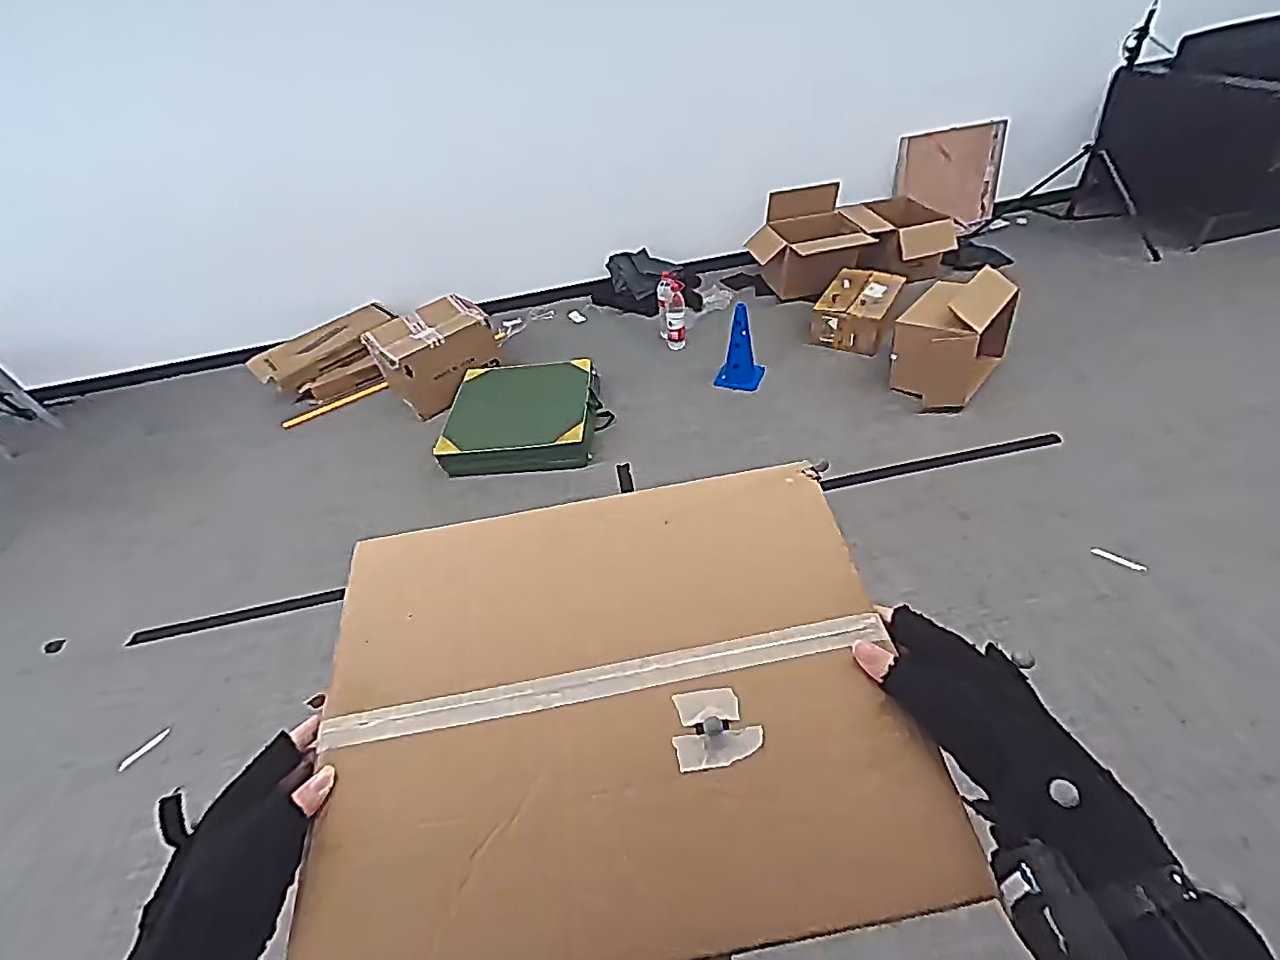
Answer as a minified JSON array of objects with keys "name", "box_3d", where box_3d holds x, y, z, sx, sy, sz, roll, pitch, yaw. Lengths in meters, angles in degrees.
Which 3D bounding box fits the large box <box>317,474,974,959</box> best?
[{"name":"large box","box_3d":[-0.008,0.239,0.519,0.408,0.320,0.320,-10,55,-2]}]
